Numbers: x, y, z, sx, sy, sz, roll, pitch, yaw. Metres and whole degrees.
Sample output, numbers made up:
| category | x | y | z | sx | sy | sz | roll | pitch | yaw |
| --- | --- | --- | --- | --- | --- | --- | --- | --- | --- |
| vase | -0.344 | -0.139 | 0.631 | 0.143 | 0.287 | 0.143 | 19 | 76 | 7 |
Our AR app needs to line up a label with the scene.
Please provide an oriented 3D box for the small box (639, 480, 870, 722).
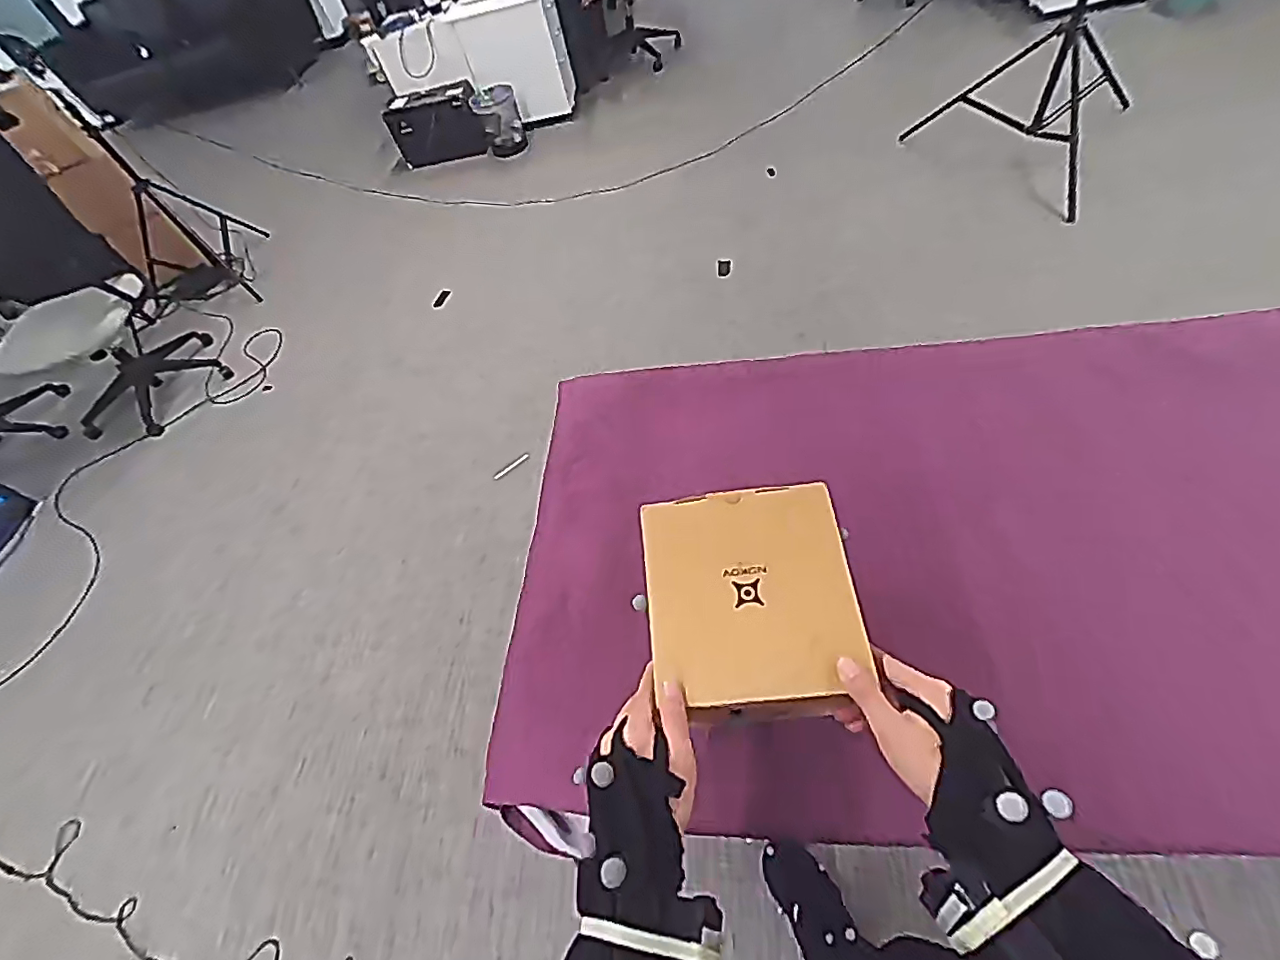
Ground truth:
| category | x | y | z | sx | sy | sz | roll | pitch | yaw |
| --- | --- | --- | --- | --- | --- | --- | --- | --- | --- |
| small box | 0.097 | 0.125 | 0.509 | 0.168 | 0.176 | 0.179 | -8 | 59 | 6 |
